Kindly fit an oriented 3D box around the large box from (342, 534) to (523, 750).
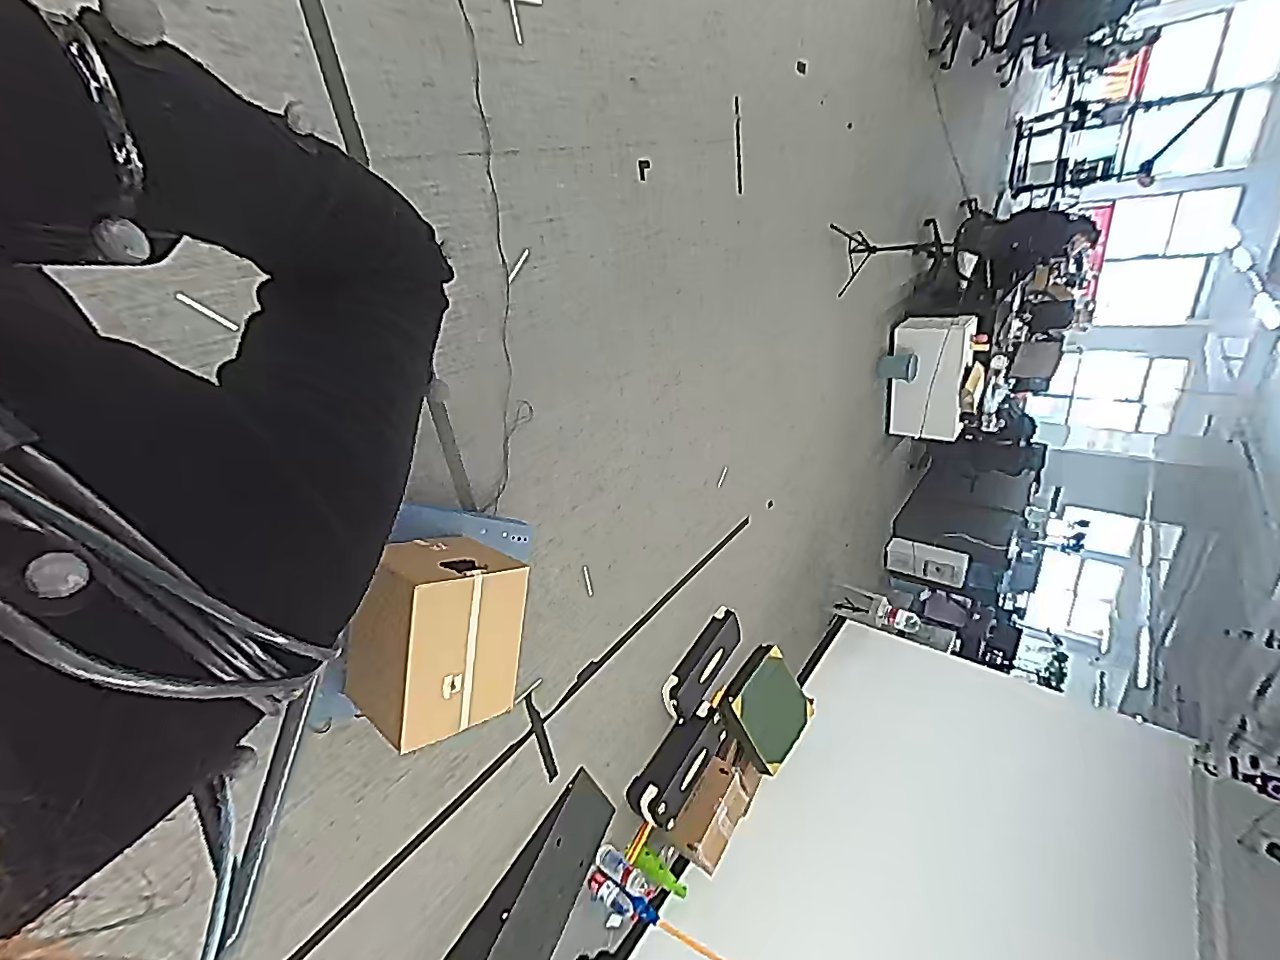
[{"bbox_3d":[-0.534,0.381,1.387,0.320,0.320,0.408,-1,102,-50],"label":"large box"}]
